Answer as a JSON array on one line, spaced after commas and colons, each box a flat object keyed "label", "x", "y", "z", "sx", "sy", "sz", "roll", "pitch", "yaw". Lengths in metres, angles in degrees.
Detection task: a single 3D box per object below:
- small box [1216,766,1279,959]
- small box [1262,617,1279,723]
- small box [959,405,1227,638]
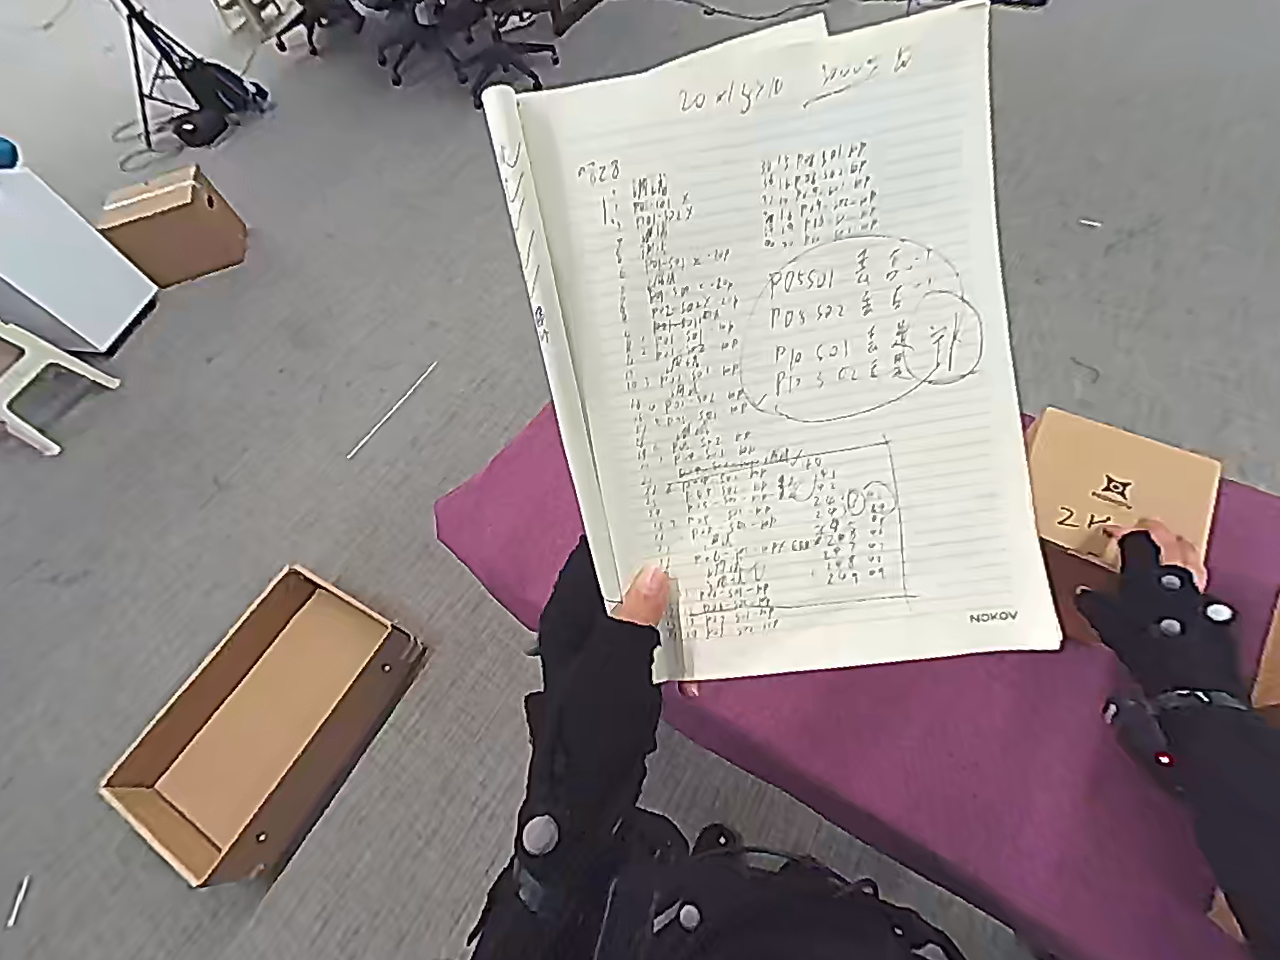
[{"label": "small box", "x": 0.633, "y": 0.348, "z": 0.430, "sx": 0.168, "sy": 0.176, "sz": 0.179, "roll": 34, "pitch": 70, "yaw": 26}, {"label": "small box", "x": 0.762, "y": 0.182, "z": 0.507, "sx": 0.168, "sy": 0.176, "sz": 0.179, "roll": 31, "pitch": 68, "yaw": 24}, {"label": "small box", "x": 0.502, "y": 0.052, "z": 0.624, "sx": 0.168, "sy": 0.176, "sz": 0.179, "roll": 27, "pitch": 68, "yaw": 22}]
